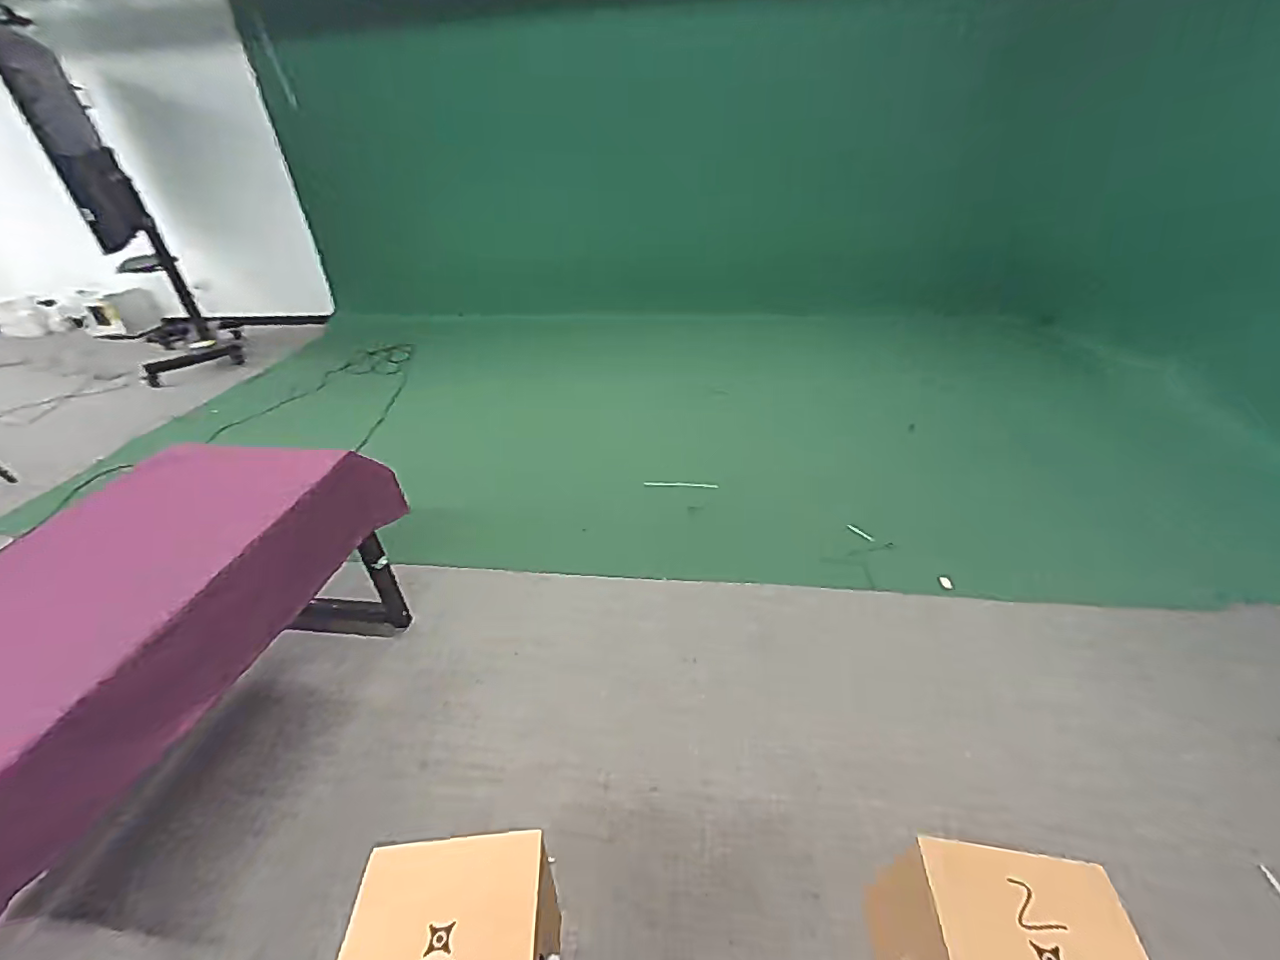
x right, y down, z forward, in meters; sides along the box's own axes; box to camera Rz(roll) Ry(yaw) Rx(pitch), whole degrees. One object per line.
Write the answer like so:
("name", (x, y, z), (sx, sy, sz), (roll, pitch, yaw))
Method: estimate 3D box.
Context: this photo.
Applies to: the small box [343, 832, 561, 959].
("small box", (-0.163, 0.463, 0.491), (0.168, 0.176, 0.179), (-4, 29, -4))
